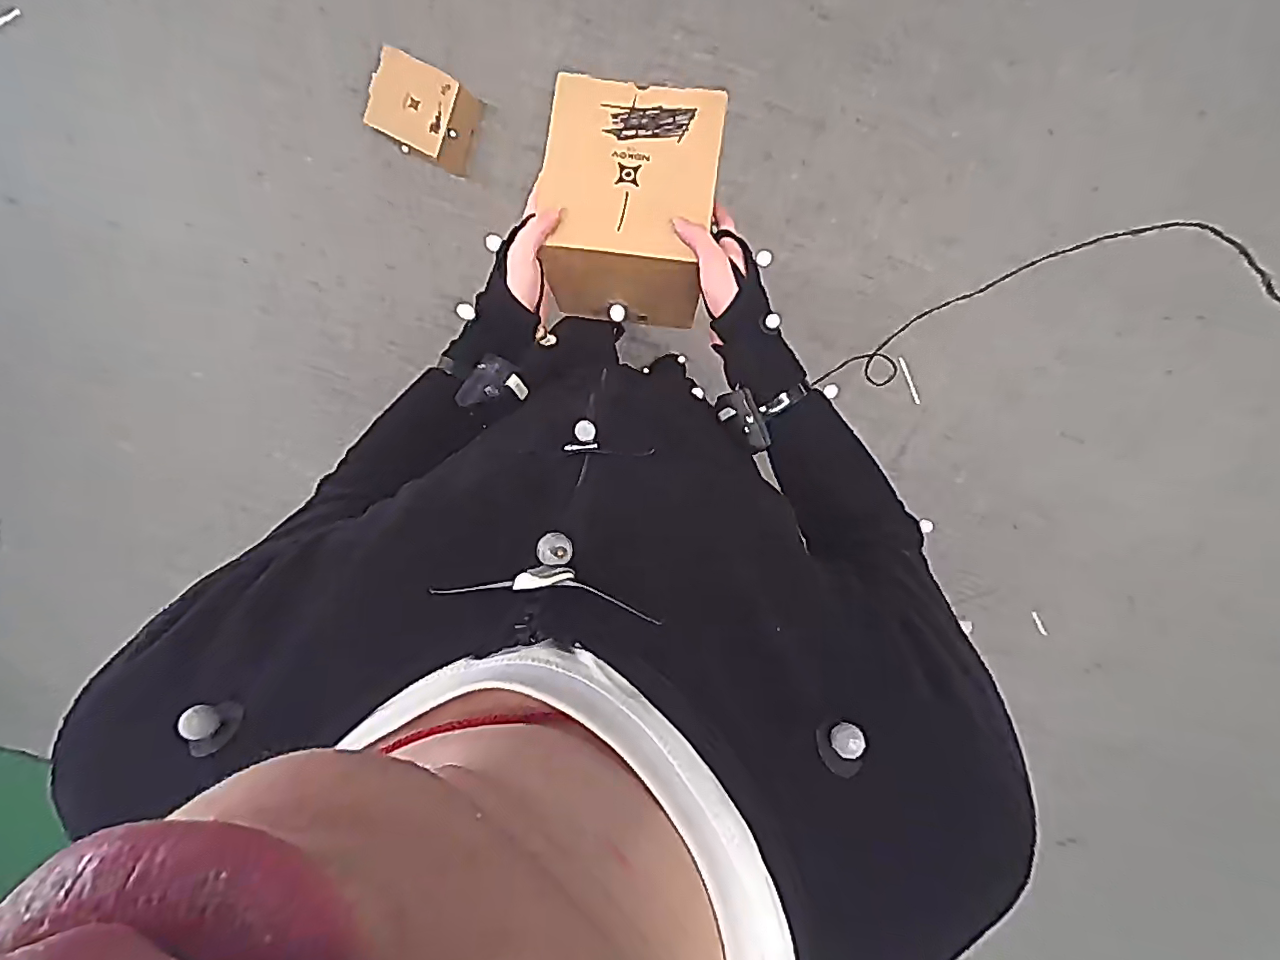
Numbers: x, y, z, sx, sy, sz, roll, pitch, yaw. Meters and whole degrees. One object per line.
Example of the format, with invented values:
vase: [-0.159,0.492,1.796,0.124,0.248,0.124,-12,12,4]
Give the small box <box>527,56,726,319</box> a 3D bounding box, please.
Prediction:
small box: [-0.011,-0.298,0.582,0.168,0.176,0.179,8,84,2]

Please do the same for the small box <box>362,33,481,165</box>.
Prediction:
small box: [-0.496,-0.863,1.247,0.179,0.176,0.168,25,105,-5]
